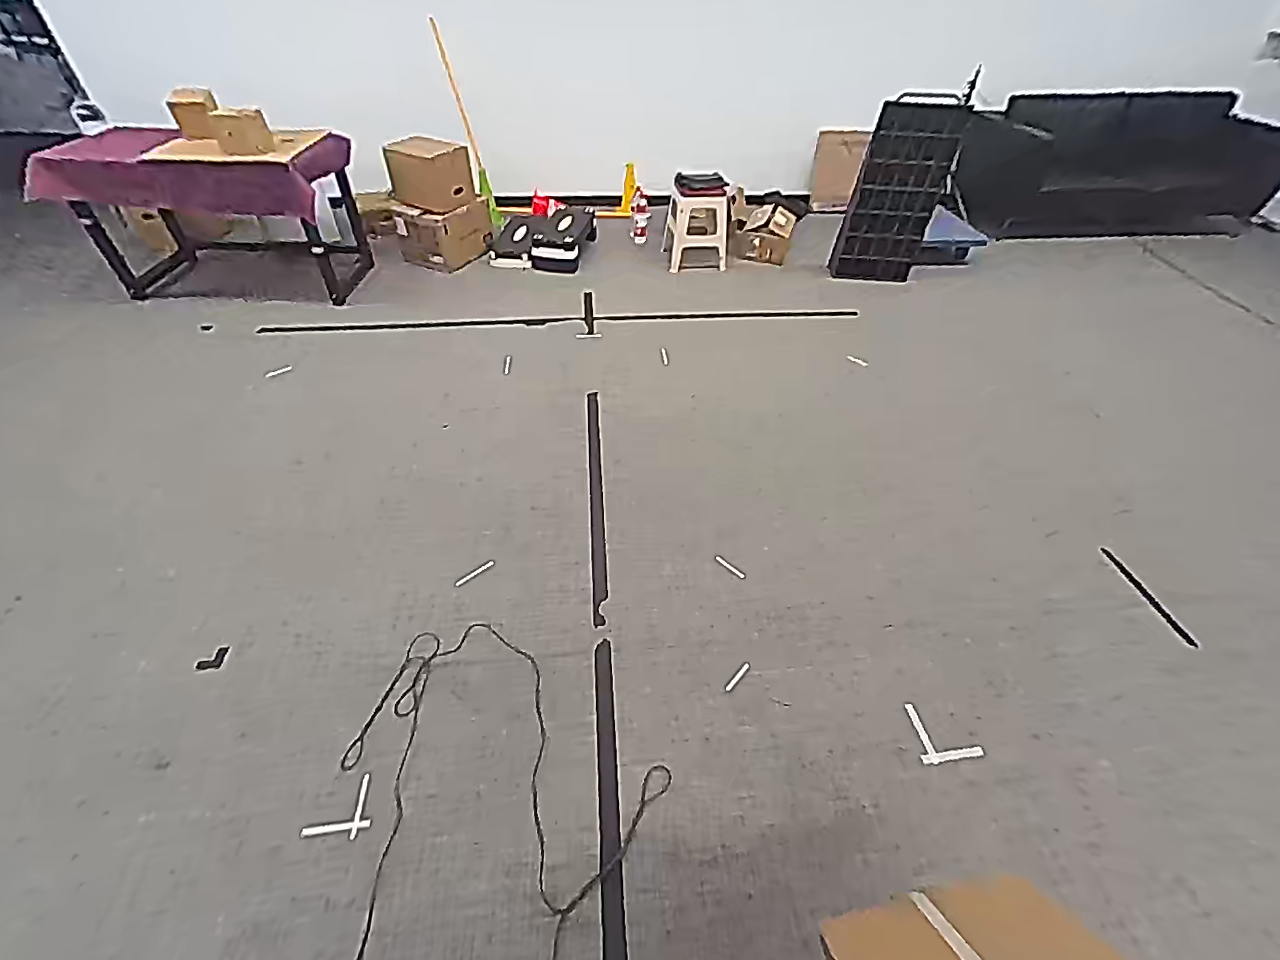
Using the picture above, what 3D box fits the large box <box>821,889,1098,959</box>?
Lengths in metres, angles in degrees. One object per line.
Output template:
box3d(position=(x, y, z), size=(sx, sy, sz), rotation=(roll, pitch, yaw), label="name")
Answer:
box3d(position=(0.449, 0.759, 0.588), size=(0.320, 0.408, 0.320), rotation=(-11, 83, -5), label="large box")
